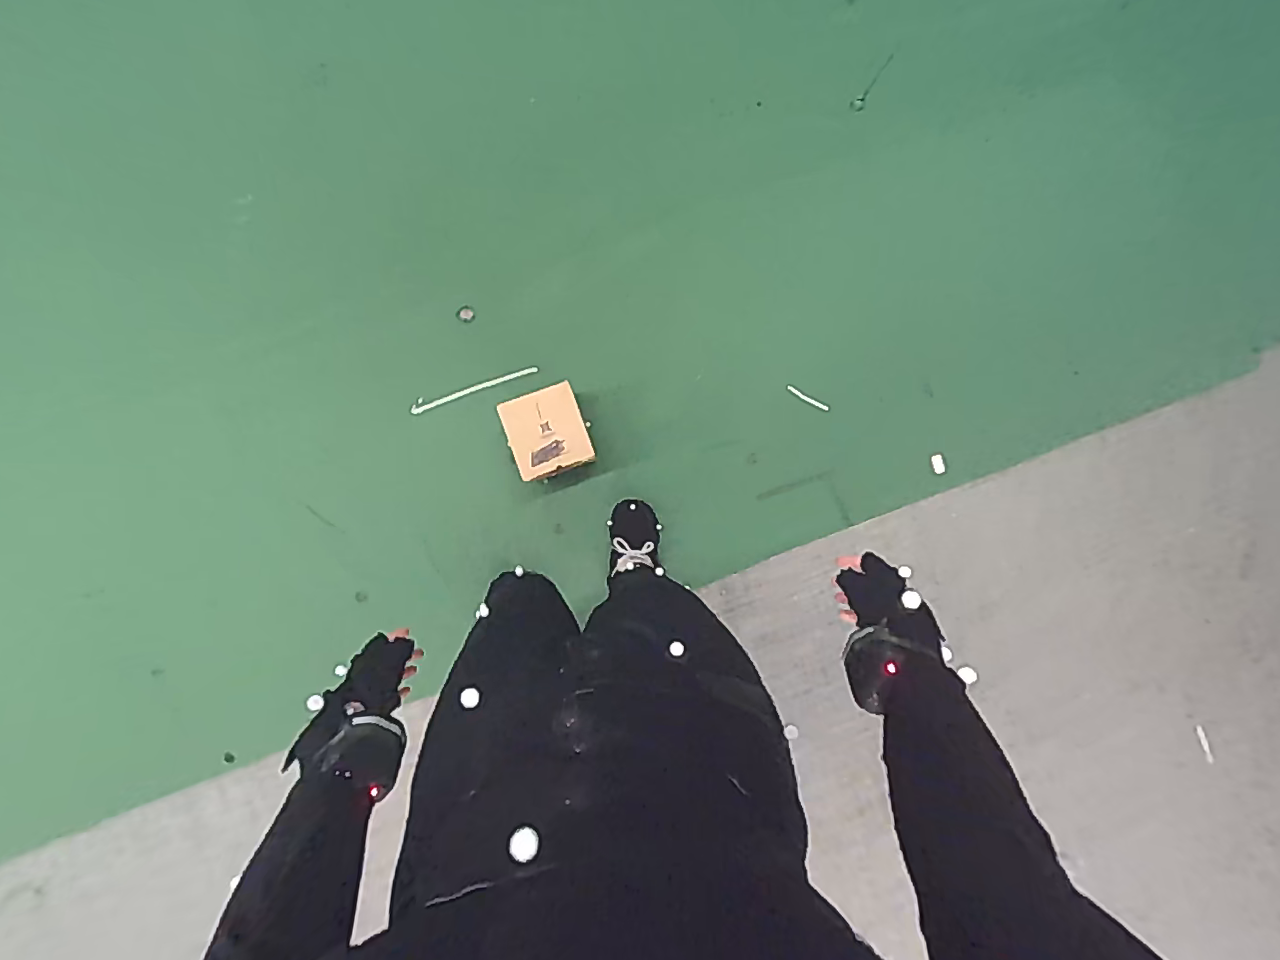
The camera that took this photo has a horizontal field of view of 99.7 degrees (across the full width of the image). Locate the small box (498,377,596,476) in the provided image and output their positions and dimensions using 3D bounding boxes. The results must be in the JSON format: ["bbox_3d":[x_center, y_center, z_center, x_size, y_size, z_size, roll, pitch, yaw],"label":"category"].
[{"bbox_3d":[-0.202,-0.117,1.233,0.168,0.176,0.179,-20,91,-3],"label":"small box"}]
